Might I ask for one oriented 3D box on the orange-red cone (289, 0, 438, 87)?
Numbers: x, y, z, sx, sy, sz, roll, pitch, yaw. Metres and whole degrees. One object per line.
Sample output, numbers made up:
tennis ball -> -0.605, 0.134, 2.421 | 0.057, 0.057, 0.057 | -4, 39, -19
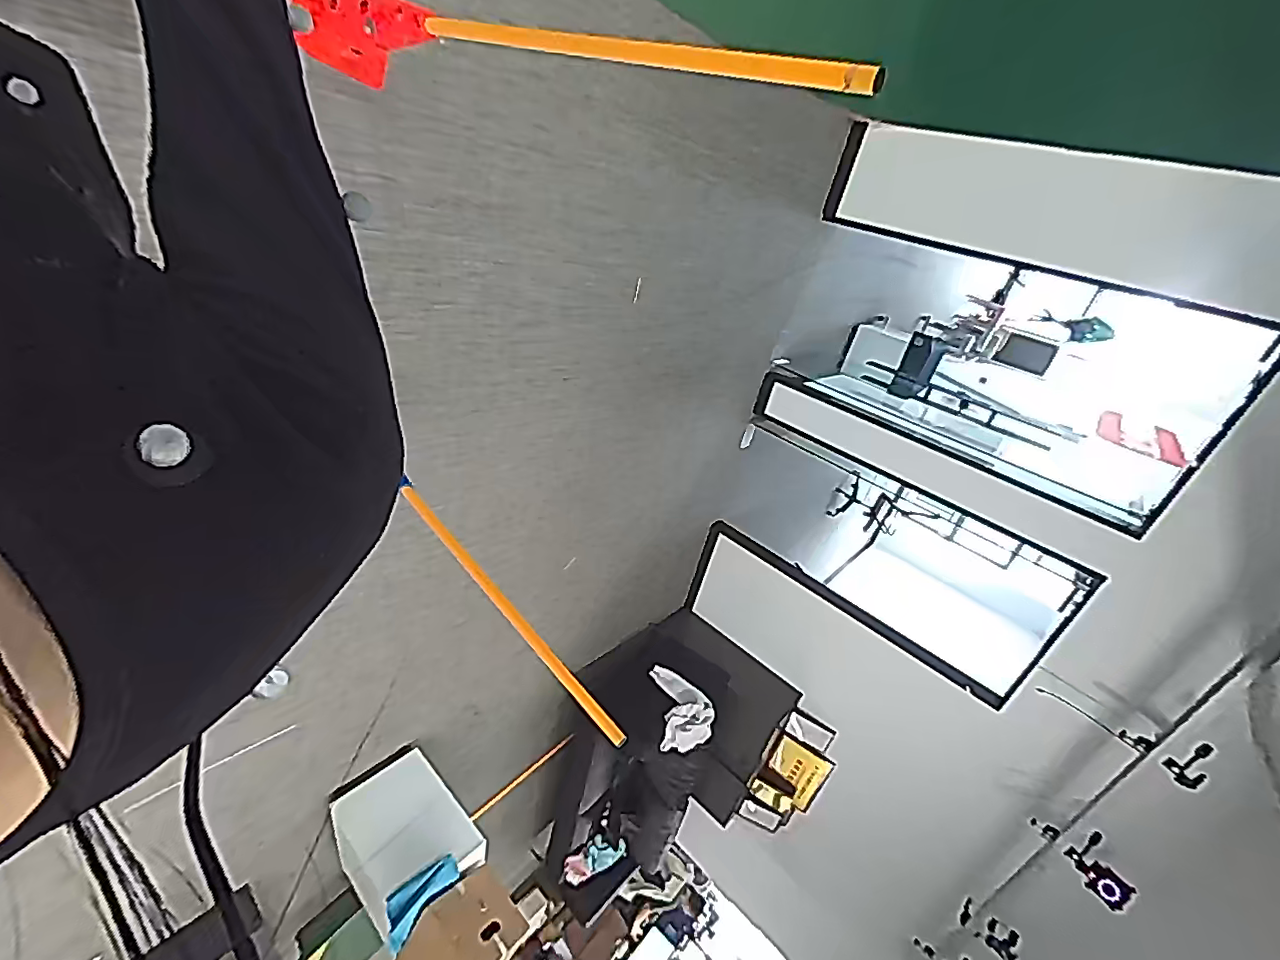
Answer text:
orange-red cone -> -0.503, -0.902, 1.060 | 0.198, 0.360, 0.199 | -3, 122, -53
